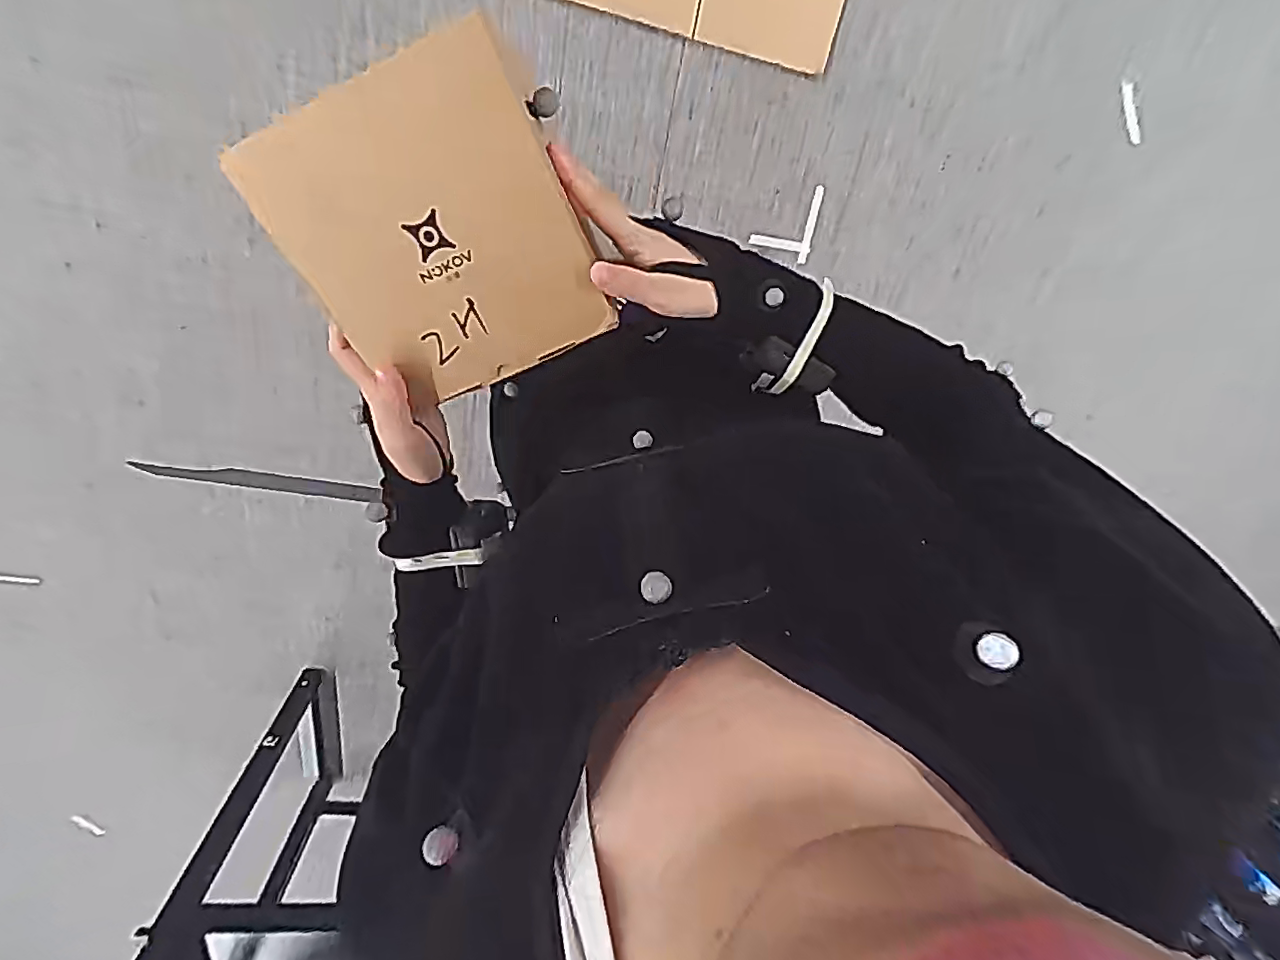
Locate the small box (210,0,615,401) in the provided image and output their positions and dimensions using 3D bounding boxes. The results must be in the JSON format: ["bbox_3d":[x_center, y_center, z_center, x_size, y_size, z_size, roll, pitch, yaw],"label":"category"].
[{"bbox_3d":[-0.128,-0.189,0.384,0.168,0.176,0.179,-21,122,10],"label":"small box"}]
